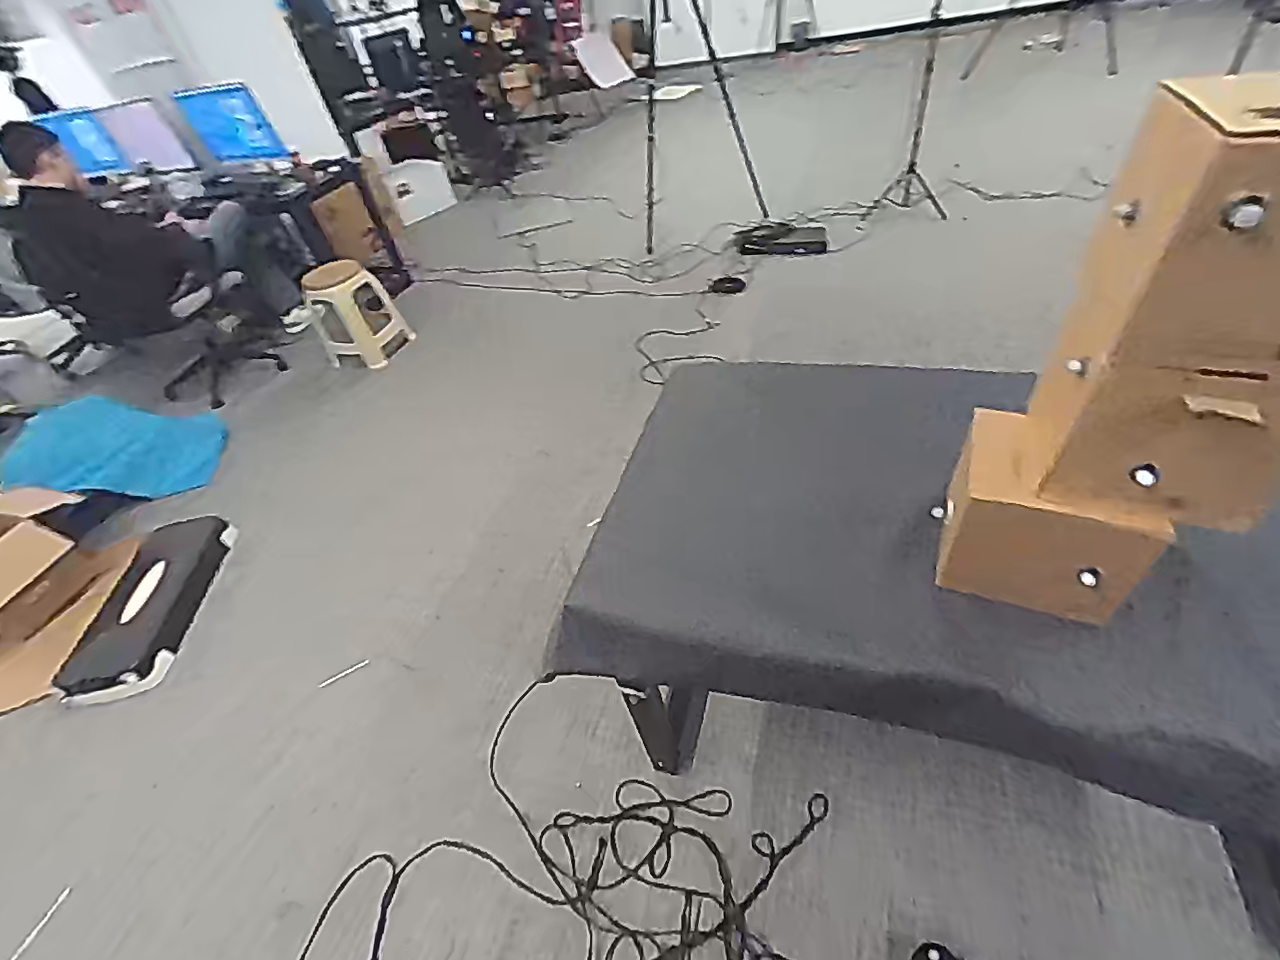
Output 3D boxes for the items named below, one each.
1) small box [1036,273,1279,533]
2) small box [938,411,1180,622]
[{"bbox_3d":[0.513,-0.079,0.528,0.168,0.176,0.179,12,48,22],"label":"small box"},{"bbox_3d":[0.477,0.044,0.644,0.179,0.176,0.168,12,48,25],"label":"small box"}]
